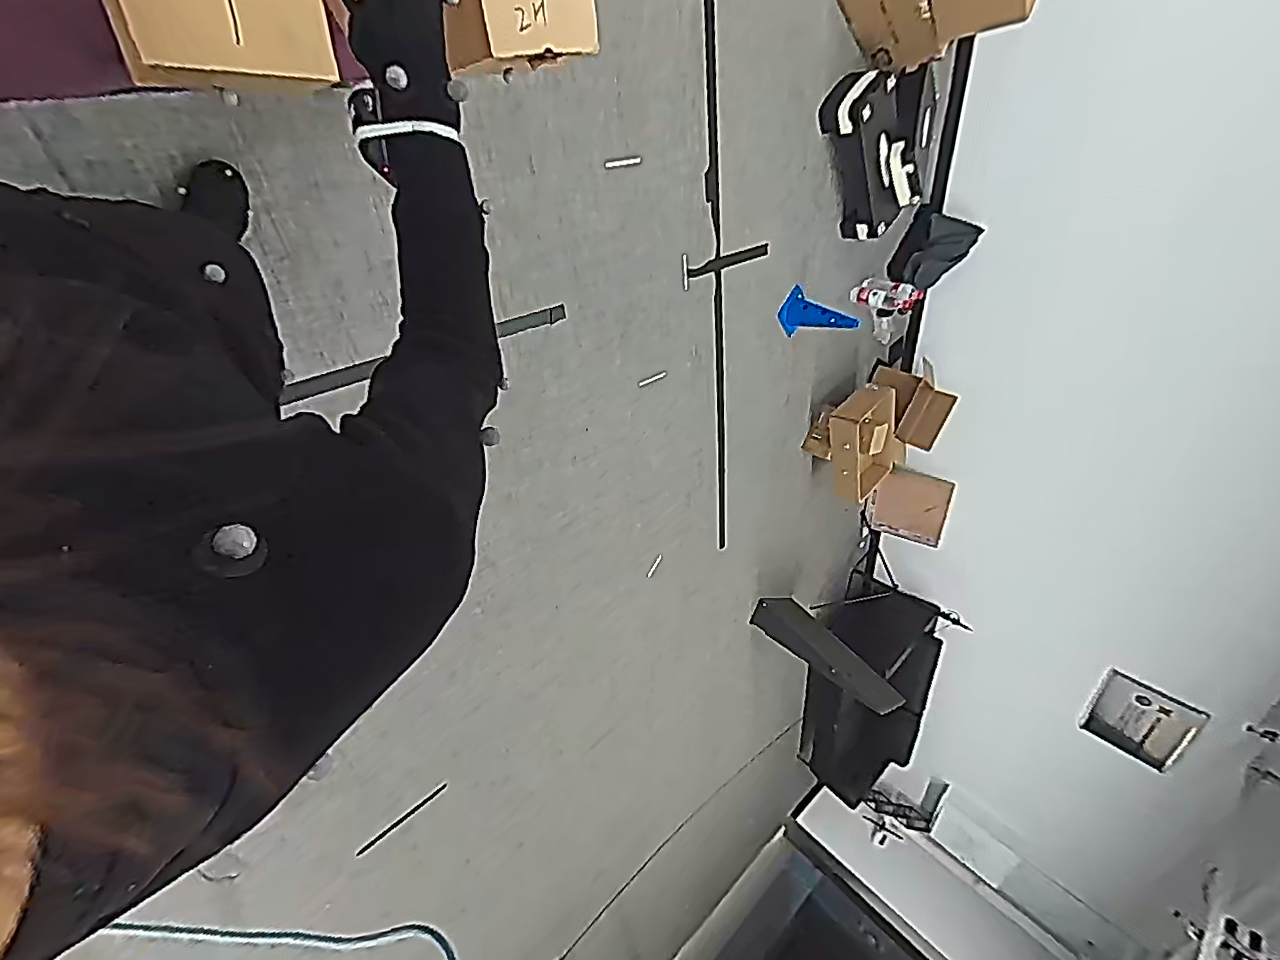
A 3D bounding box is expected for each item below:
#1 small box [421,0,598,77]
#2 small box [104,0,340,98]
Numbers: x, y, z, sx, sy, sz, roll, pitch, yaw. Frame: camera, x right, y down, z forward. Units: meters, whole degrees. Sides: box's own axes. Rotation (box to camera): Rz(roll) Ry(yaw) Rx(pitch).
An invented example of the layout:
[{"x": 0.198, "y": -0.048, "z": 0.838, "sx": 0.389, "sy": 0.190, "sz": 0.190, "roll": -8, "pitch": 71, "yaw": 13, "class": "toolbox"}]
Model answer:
[{"x": -0.179, "y": -0.643, "z": 0.696, "sx": 0.168, "sy": 0.176, "sz": 0.179, "roll": -29, "pitch": 130, "yaw": -29, "class": "small box"}, {"x": -0.430, "y": -0.495, "z": 0.533, "sx": 0.168, "sy": 0.176, "sz": 0.179, "roll": -24, "pitch": 128, "yaw": -34, "class": "small box"}]
